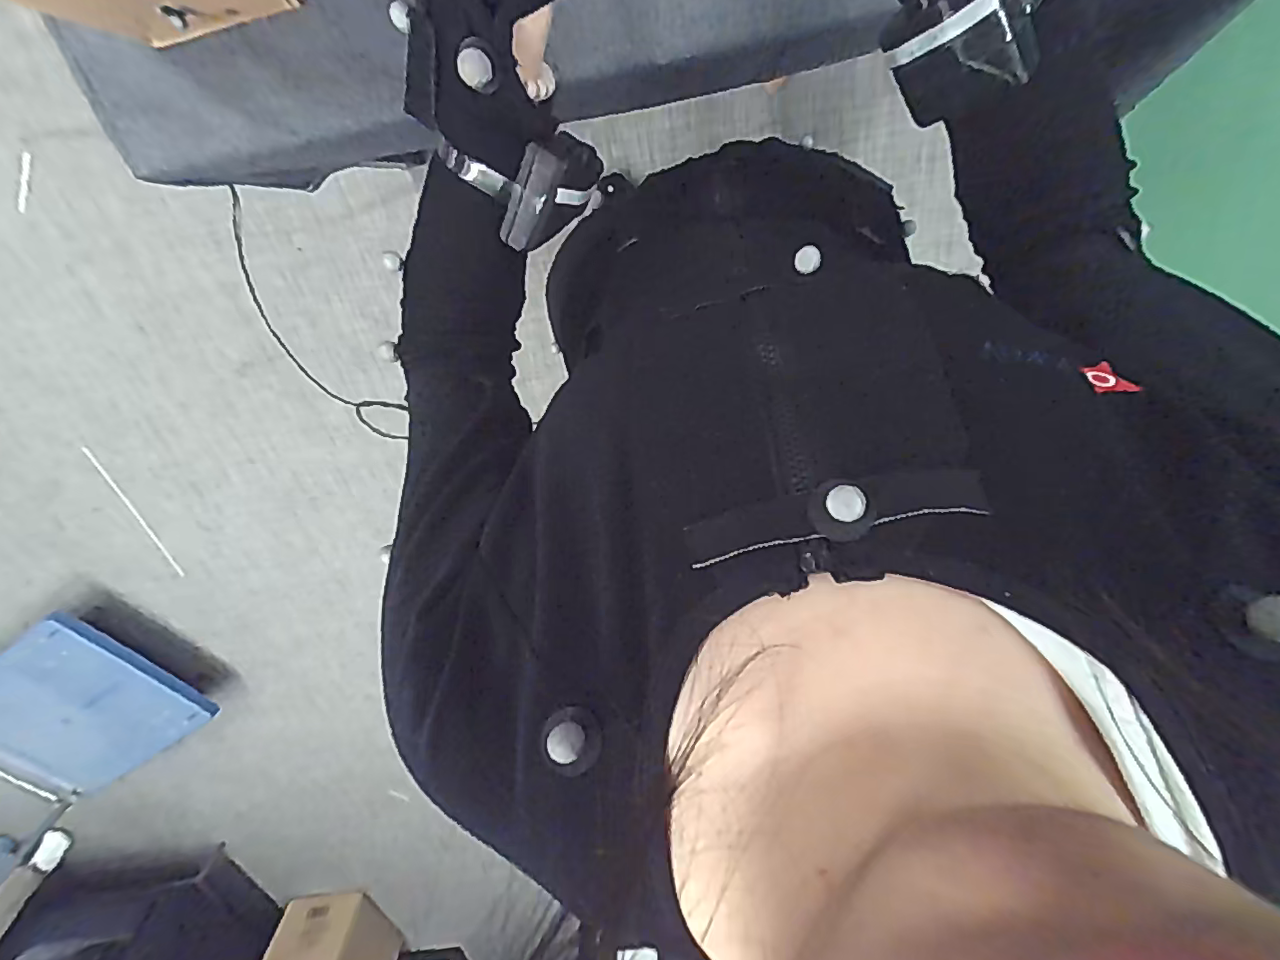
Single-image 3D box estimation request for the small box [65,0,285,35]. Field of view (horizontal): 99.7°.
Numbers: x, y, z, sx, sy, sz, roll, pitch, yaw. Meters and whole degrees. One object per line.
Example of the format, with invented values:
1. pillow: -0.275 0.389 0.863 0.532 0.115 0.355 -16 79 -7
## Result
1. small box: -0.419 -0.484 0.413 0.168 0.176 0.179 -11 119 5
